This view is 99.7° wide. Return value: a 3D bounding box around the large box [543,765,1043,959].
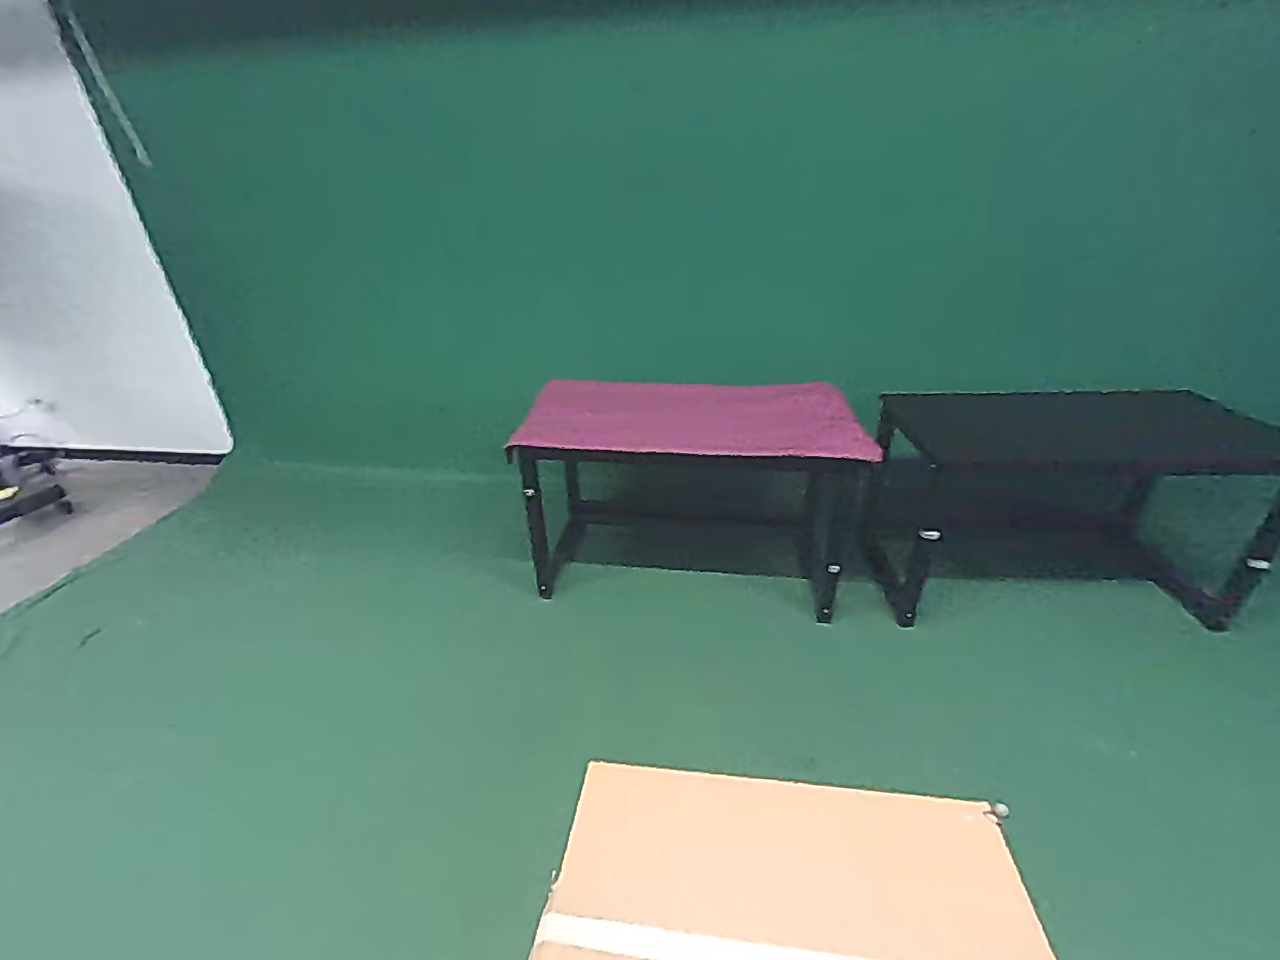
[{"bbox_3d":[0.124,0.518,0.500,0.408,0.320,0.320,2,27,8],"label":"large box"}]
